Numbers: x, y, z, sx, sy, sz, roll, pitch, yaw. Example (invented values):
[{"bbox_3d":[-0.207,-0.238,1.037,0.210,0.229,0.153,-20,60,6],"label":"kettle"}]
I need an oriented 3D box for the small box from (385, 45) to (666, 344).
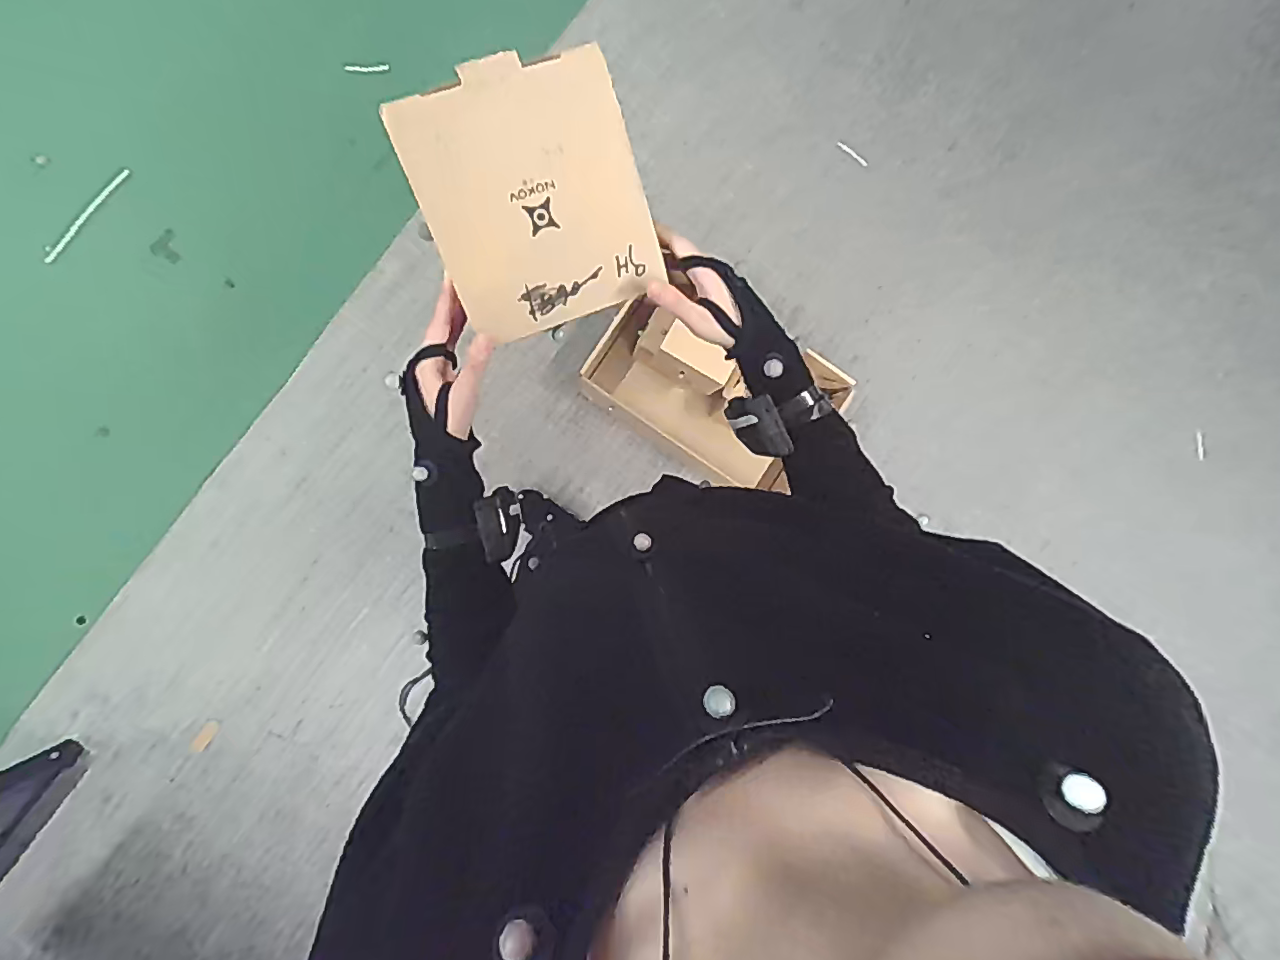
[{"bbox_3d":[-0.097,-0.233,0.488,0.168,0.176,0.179,-22,110,-6],"label":"small box"}]

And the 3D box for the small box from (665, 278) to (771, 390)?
[{"bbox_3d":[0.170,-0.325,1.249,0.168,0.176,0.179,29,89,-5],"label":"small box"}]

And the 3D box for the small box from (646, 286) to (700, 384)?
[{"bbox_3d":[0.128,-0.366,1.409,0.179,0.176,0.168,31,89,-4],"label":"small box"}]

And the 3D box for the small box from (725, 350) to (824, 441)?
[{"bbox_3d":[0.342,-0.211,1.420,0.179,0.176,0.168,28,88,-2],"label":"small box"}]
